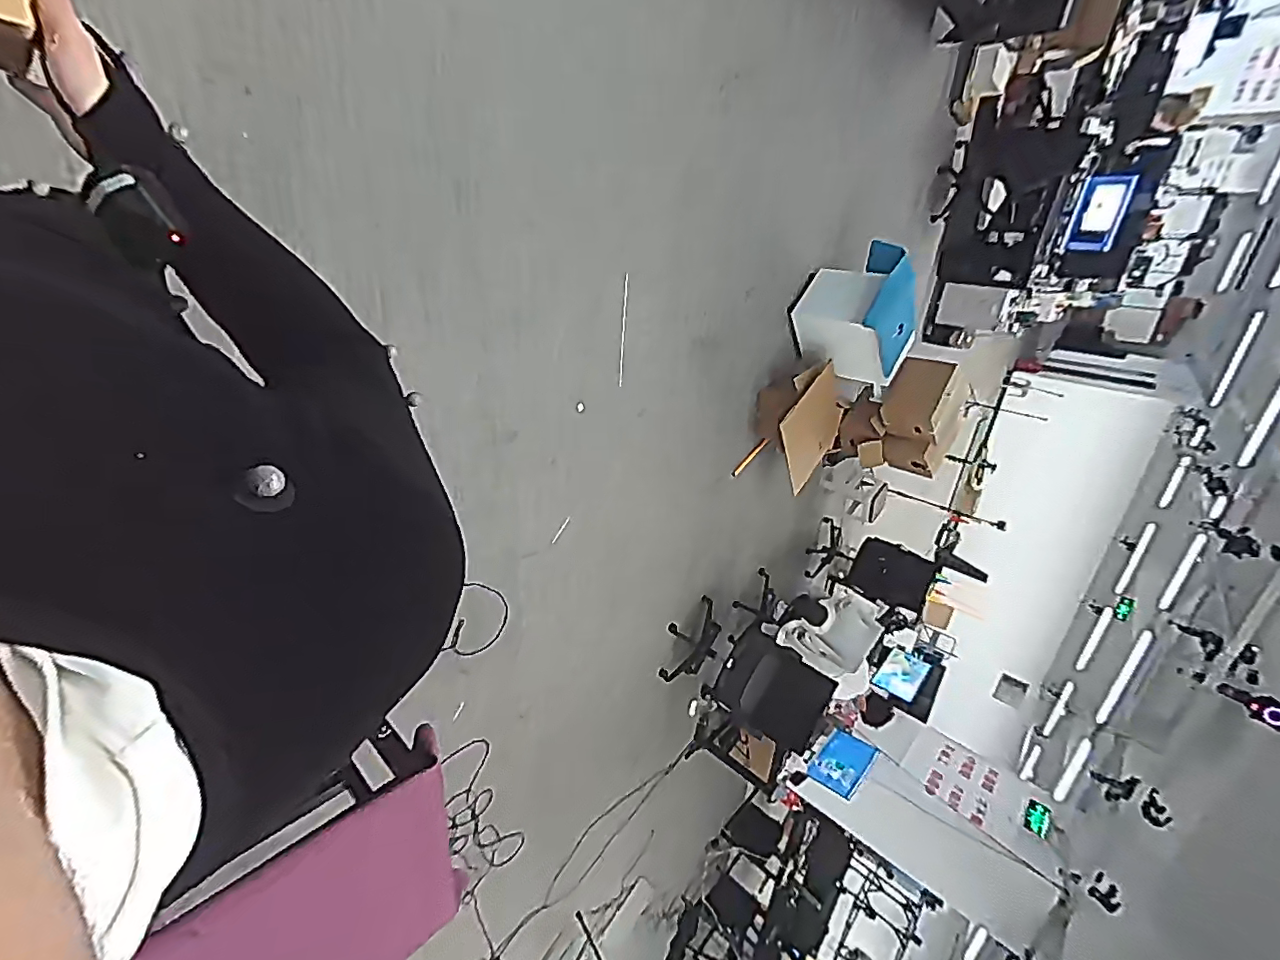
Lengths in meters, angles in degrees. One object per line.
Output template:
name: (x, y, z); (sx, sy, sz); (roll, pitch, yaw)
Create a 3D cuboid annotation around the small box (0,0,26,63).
small box: (-0.514, -0.403, 0.334); (0.168, 0.176, 0.179); (-9, 112, -47)
